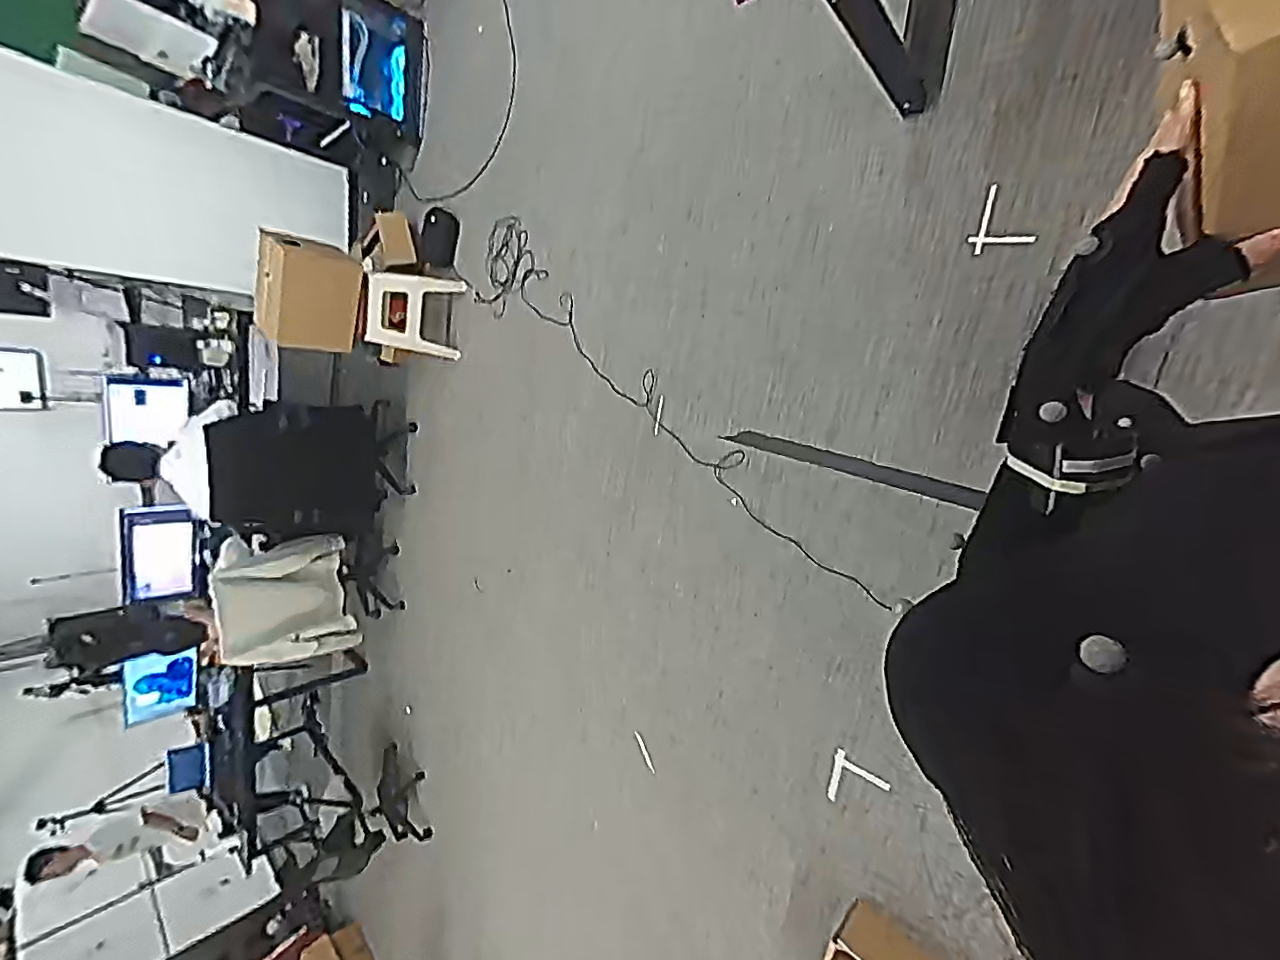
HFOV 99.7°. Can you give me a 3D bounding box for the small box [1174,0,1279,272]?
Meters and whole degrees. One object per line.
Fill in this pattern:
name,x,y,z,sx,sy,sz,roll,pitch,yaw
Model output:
small box,0.404,-0.247,0.278,0.168,0.176,0.179,-7,55,39
